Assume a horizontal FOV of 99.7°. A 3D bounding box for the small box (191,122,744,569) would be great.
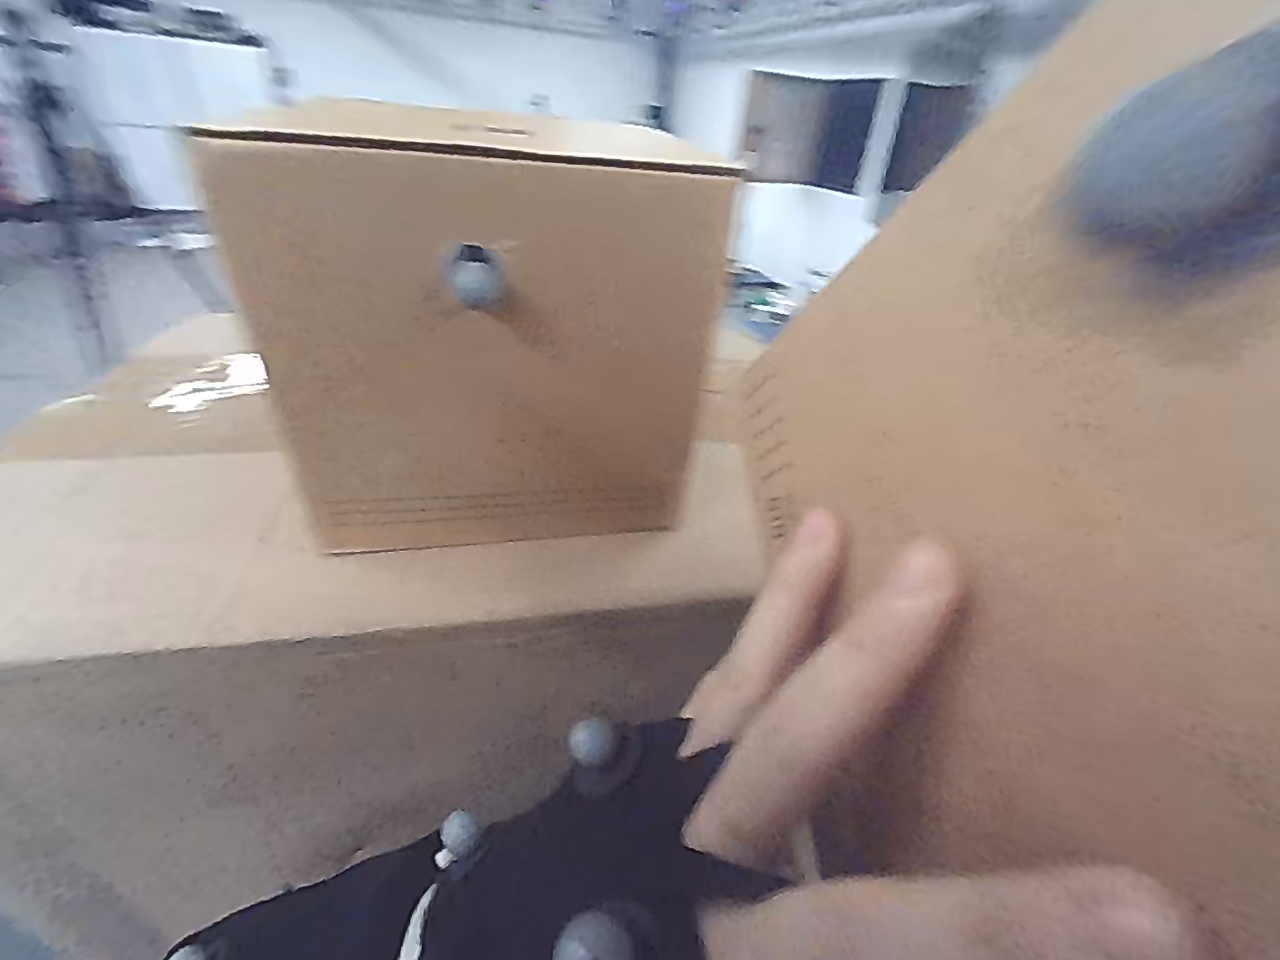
[{"bbox_3d":[-0.069,-0.073,0.283,0.179,0.176,0.168,-4,37,-13],"label":"small box"}]
